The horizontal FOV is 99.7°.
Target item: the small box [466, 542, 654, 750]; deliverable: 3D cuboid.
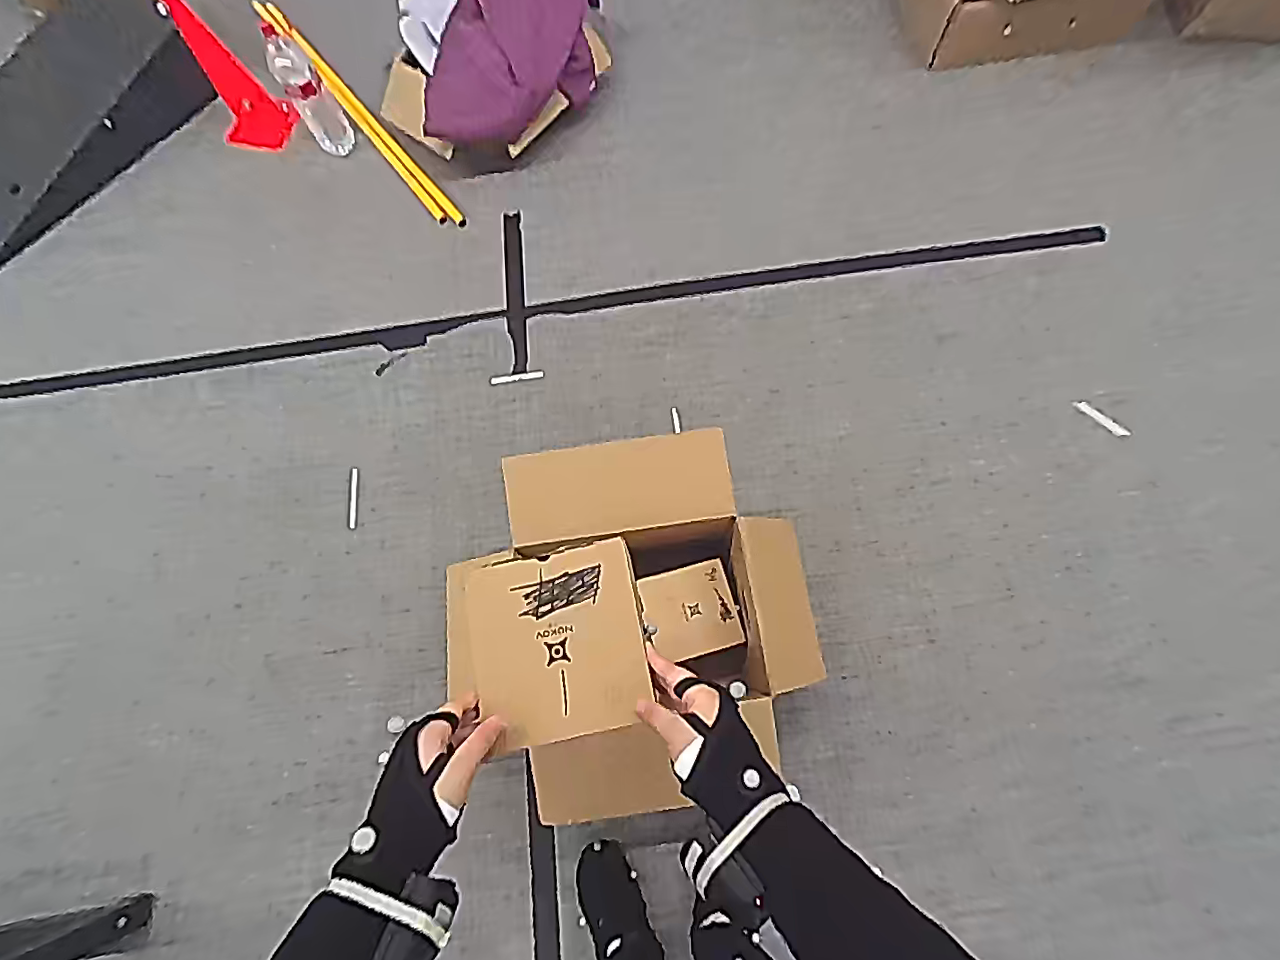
[{"bbox_3d":[-0.082,0.181,0.614,0.168,0.176,0.179,-12,76,-1],"label":"small box"}]
